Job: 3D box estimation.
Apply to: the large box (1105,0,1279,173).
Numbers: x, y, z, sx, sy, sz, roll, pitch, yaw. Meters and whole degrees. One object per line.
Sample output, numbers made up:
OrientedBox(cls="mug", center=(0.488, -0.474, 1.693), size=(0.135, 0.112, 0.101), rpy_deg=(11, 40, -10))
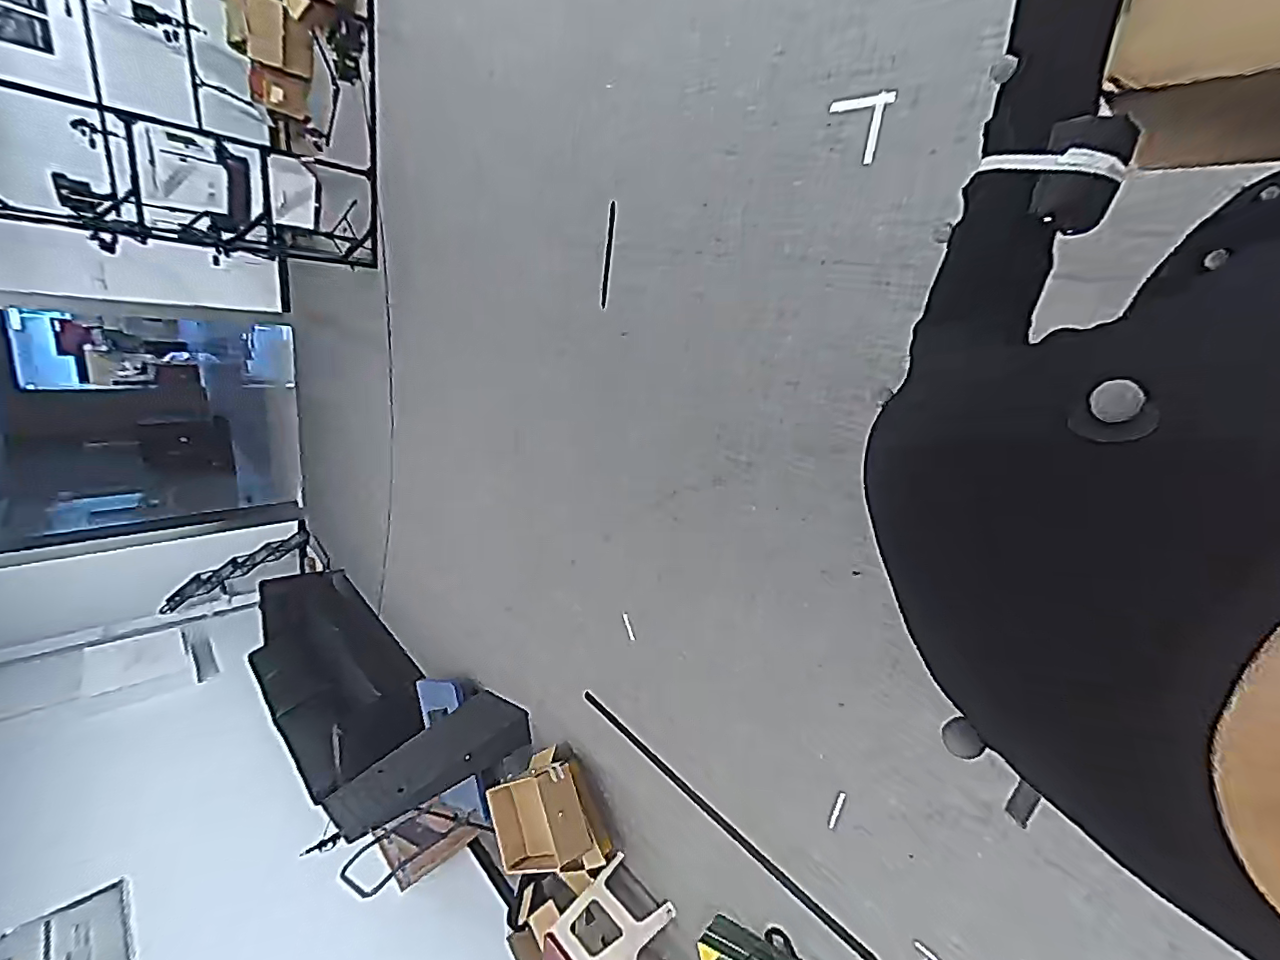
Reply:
OrientedBox(cls="large box", center=(0.565, -0.388, 0.296), size=(0.408, 0.320, 0.320), rpy_deg=(20, 117, 40))
